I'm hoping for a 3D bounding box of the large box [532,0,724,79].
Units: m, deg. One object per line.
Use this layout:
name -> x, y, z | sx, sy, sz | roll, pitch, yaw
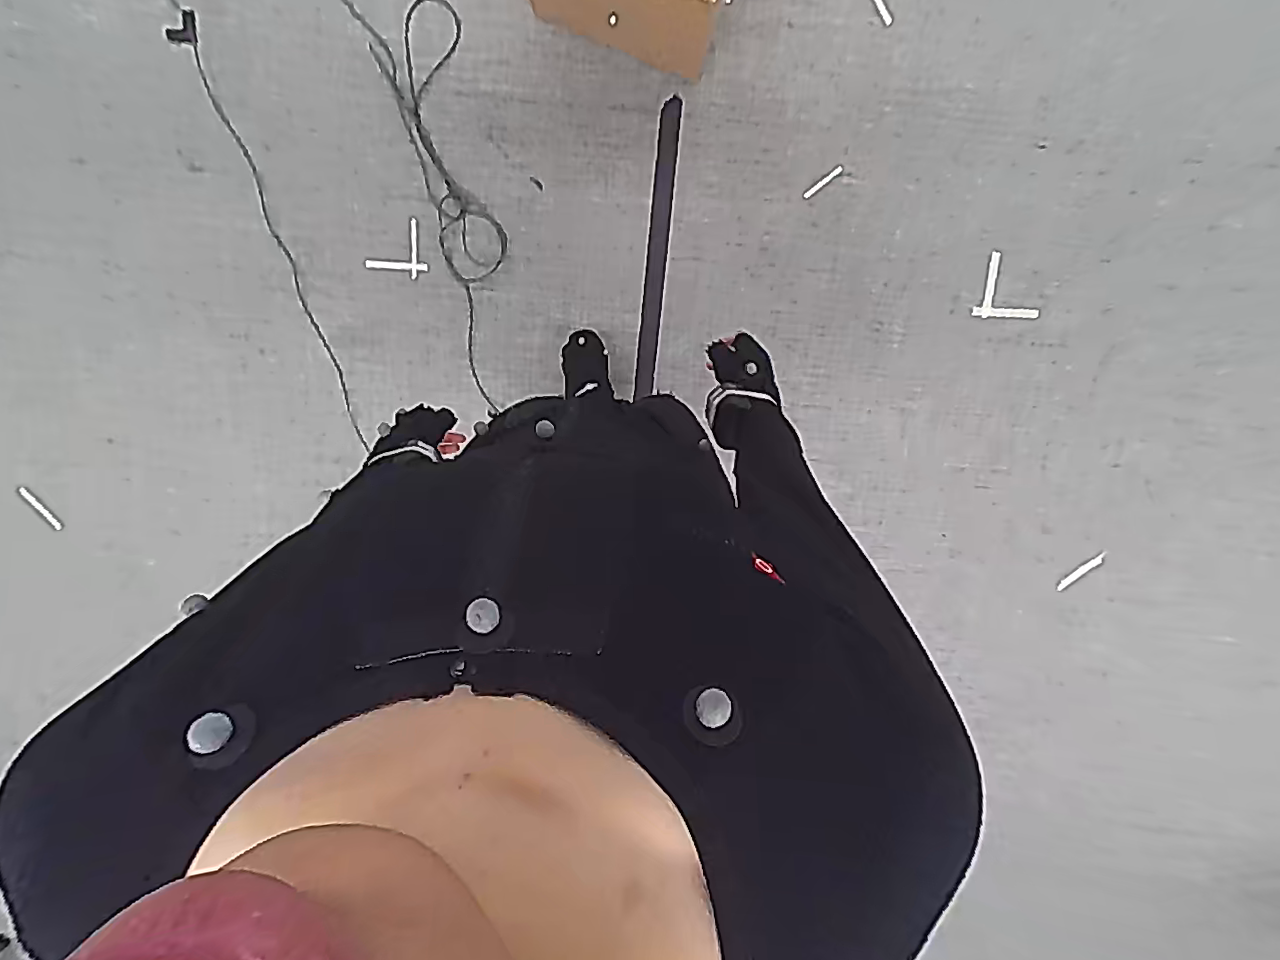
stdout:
large box -> -0.003, -1.107, 1.089 | 0.408, 0.320, 0.320 | 19, 102, -5
